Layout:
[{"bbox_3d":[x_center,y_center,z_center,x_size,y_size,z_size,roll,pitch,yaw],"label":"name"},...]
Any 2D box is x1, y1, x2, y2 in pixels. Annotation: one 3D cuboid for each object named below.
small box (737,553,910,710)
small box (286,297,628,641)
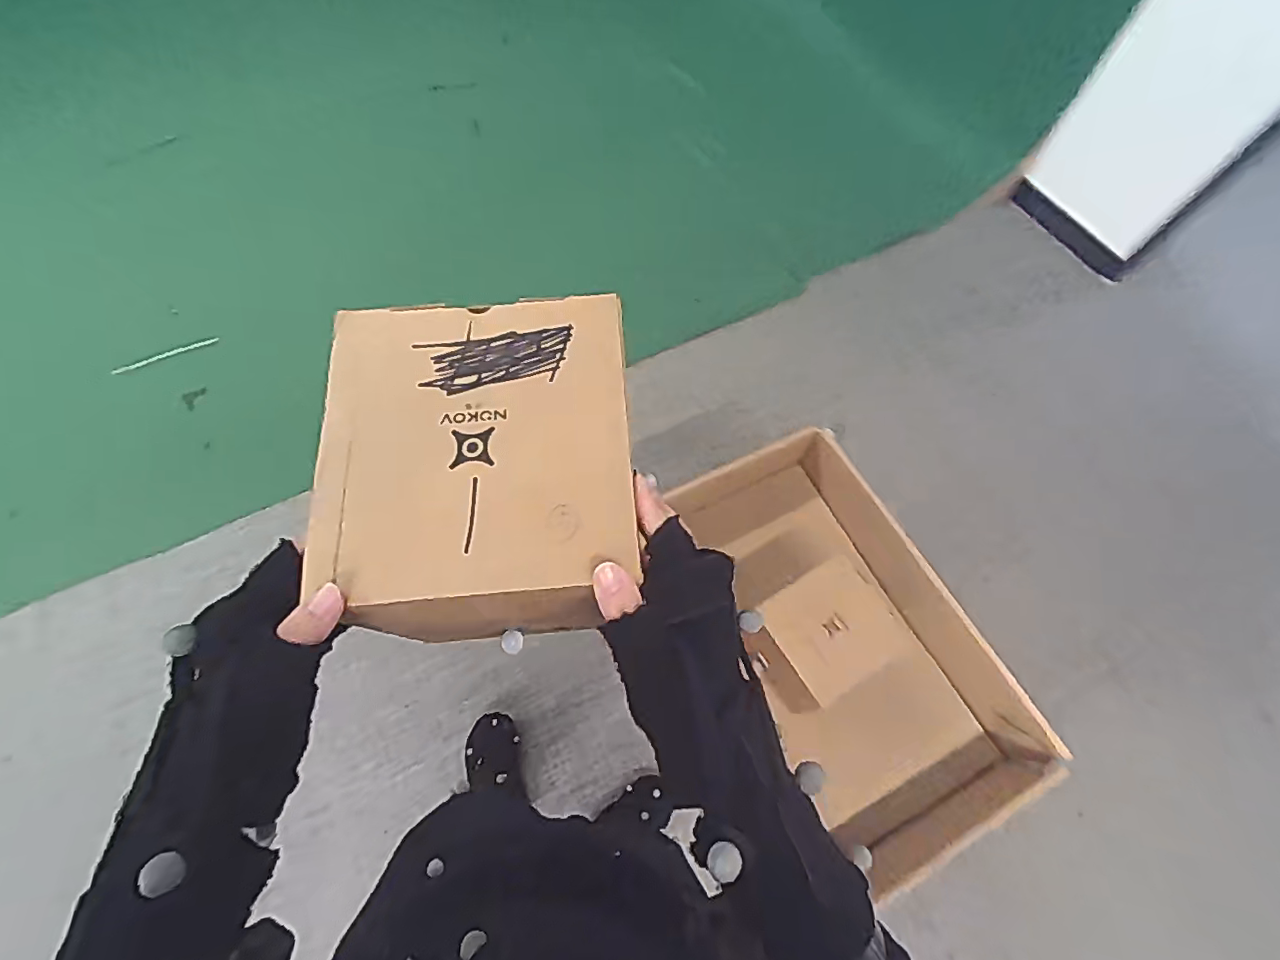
[{"bbox_3d":[0.278,0.247,0.866,0.179,0.176,0.168,-28,68,-13],"label":"small box"},{"bbox_3d":[-0.097,0.005,0.367,0.168,0.176,0.179,-6,69,-2],"label":"small box"}]
